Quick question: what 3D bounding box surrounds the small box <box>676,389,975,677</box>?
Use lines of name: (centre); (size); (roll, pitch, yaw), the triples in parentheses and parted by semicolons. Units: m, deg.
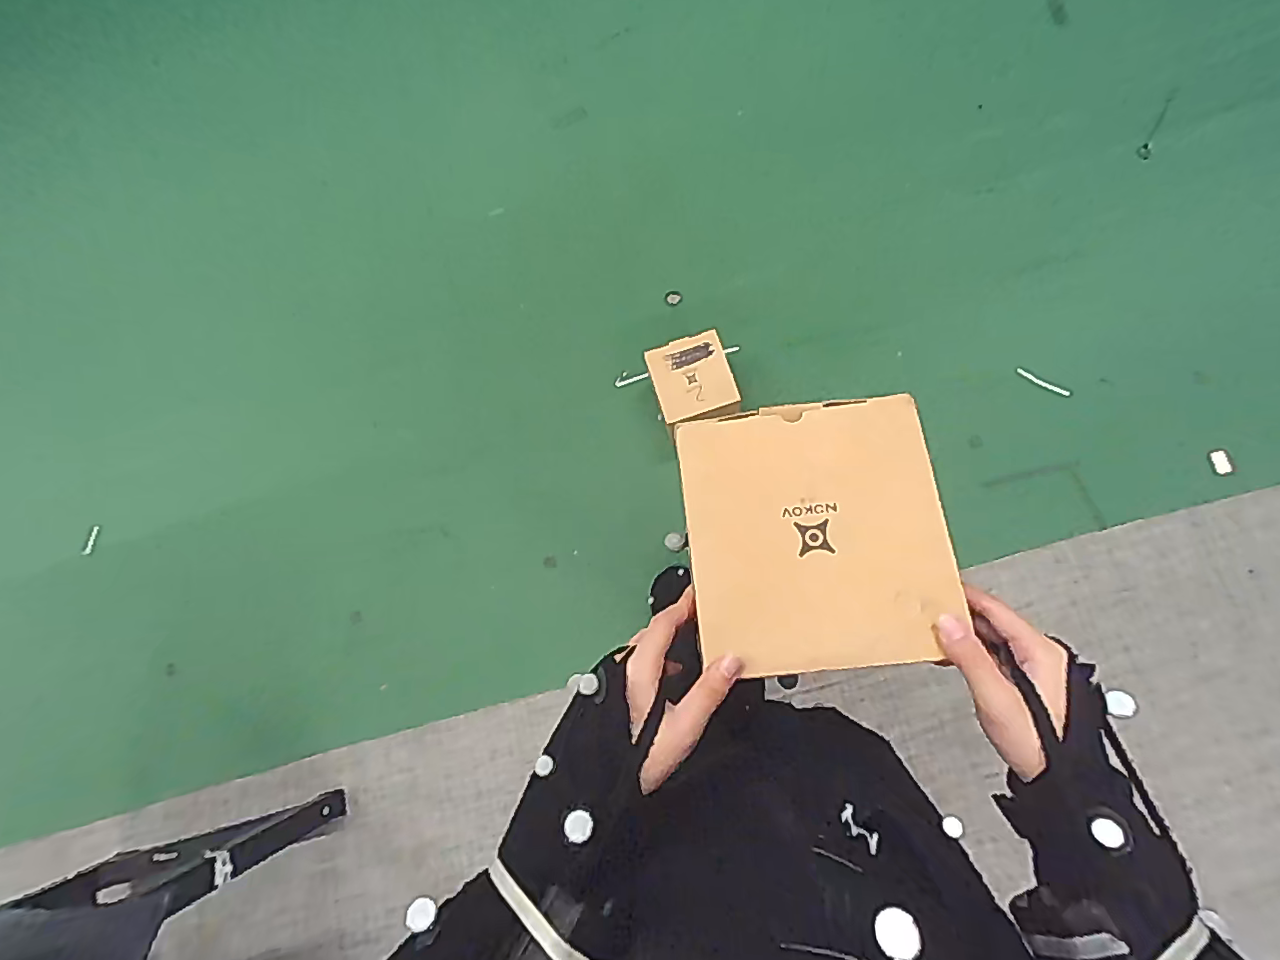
small box: (0.122, 0.050, 0.427); (0.168, 0.176, 0.179); (-7, 73, 5)
